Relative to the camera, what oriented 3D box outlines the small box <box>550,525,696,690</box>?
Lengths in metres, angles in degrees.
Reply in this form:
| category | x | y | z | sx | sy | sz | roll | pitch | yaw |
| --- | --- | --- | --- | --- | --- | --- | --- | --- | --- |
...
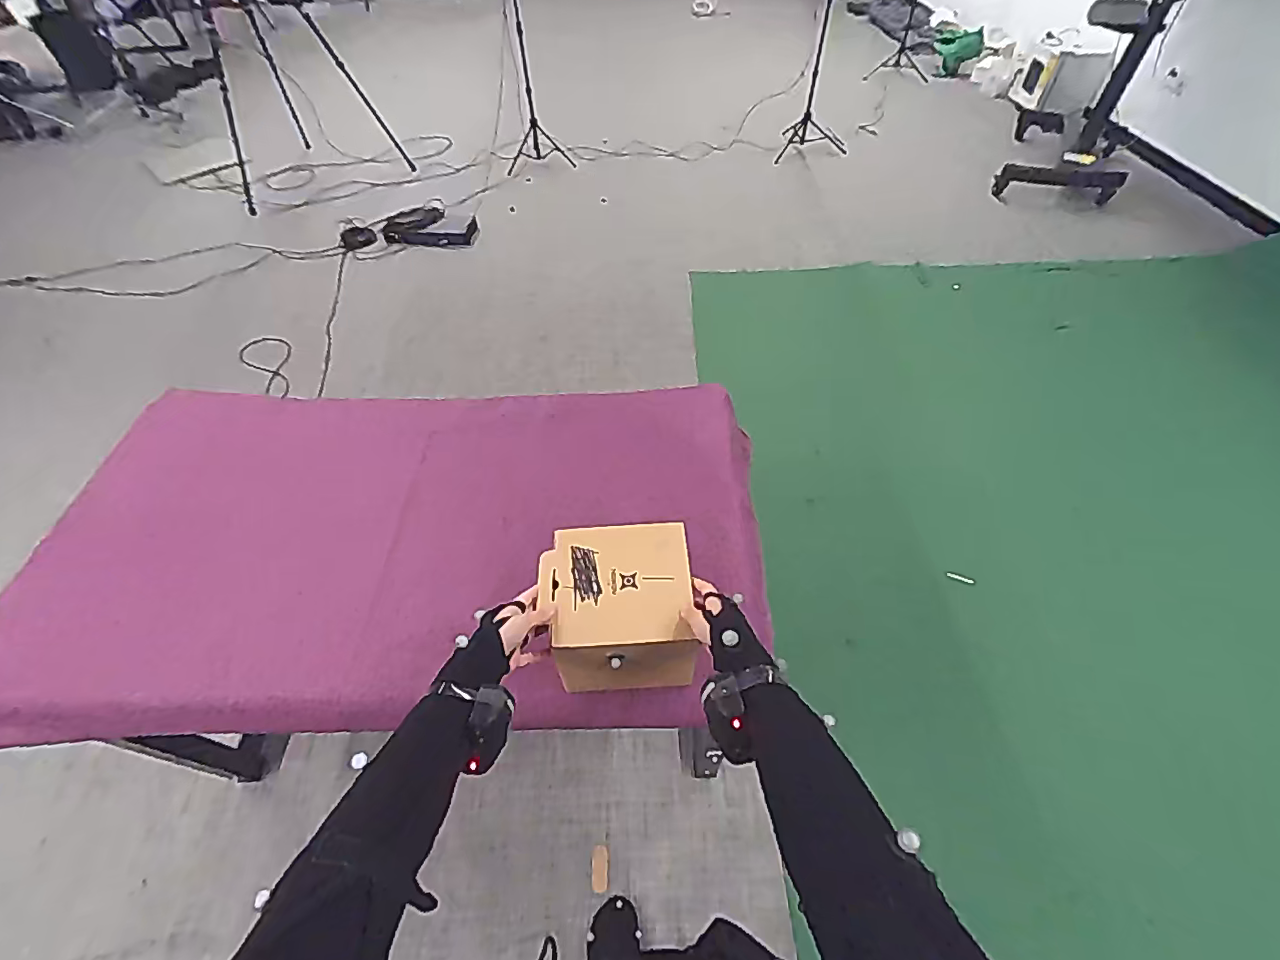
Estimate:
| category | x | y | z | sx | sy | sz | roll | pitch | yaw |
| --- | --- | --- | --- | --- | --- | --- | --- | --- | --- |
| small box | -0.020 | 0.179 | 0.742 | 0.179 | 0.176 | 0.168 | -3 | 52 | -1 |
